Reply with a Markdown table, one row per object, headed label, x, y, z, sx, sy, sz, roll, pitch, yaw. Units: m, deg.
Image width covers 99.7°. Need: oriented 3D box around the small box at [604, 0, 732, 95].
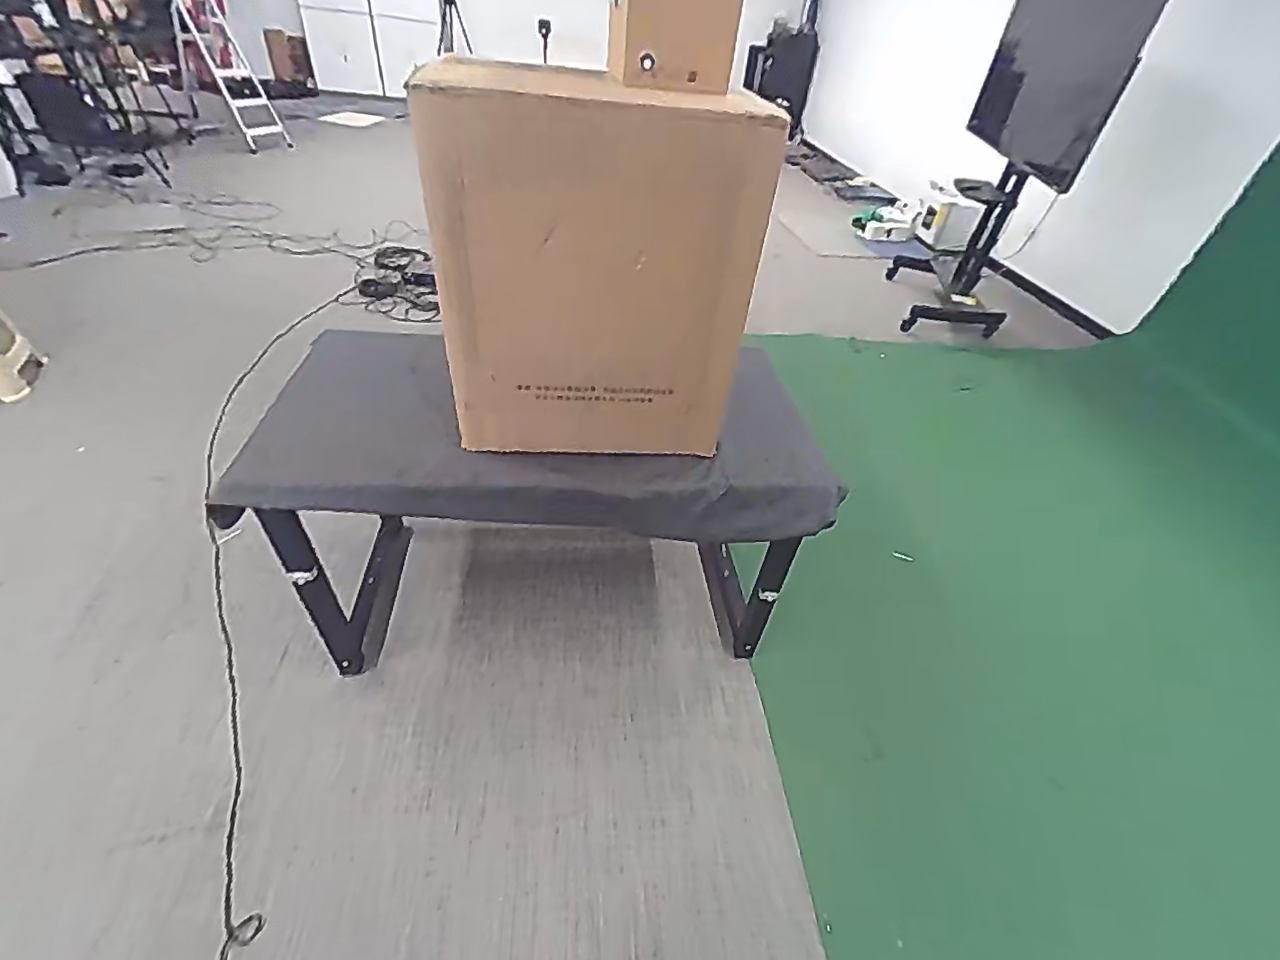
| label | x | y | z | sx | sy | sz | roll | pitch | yaw |
| --- | --- | --- | --- | --- | --- | --- | --- | --- | --- |
| small box | 0.037 | -0.700 | 0.819 | 0.168 | 0.176 | 0.179 | -4 | 43 | -11 |
